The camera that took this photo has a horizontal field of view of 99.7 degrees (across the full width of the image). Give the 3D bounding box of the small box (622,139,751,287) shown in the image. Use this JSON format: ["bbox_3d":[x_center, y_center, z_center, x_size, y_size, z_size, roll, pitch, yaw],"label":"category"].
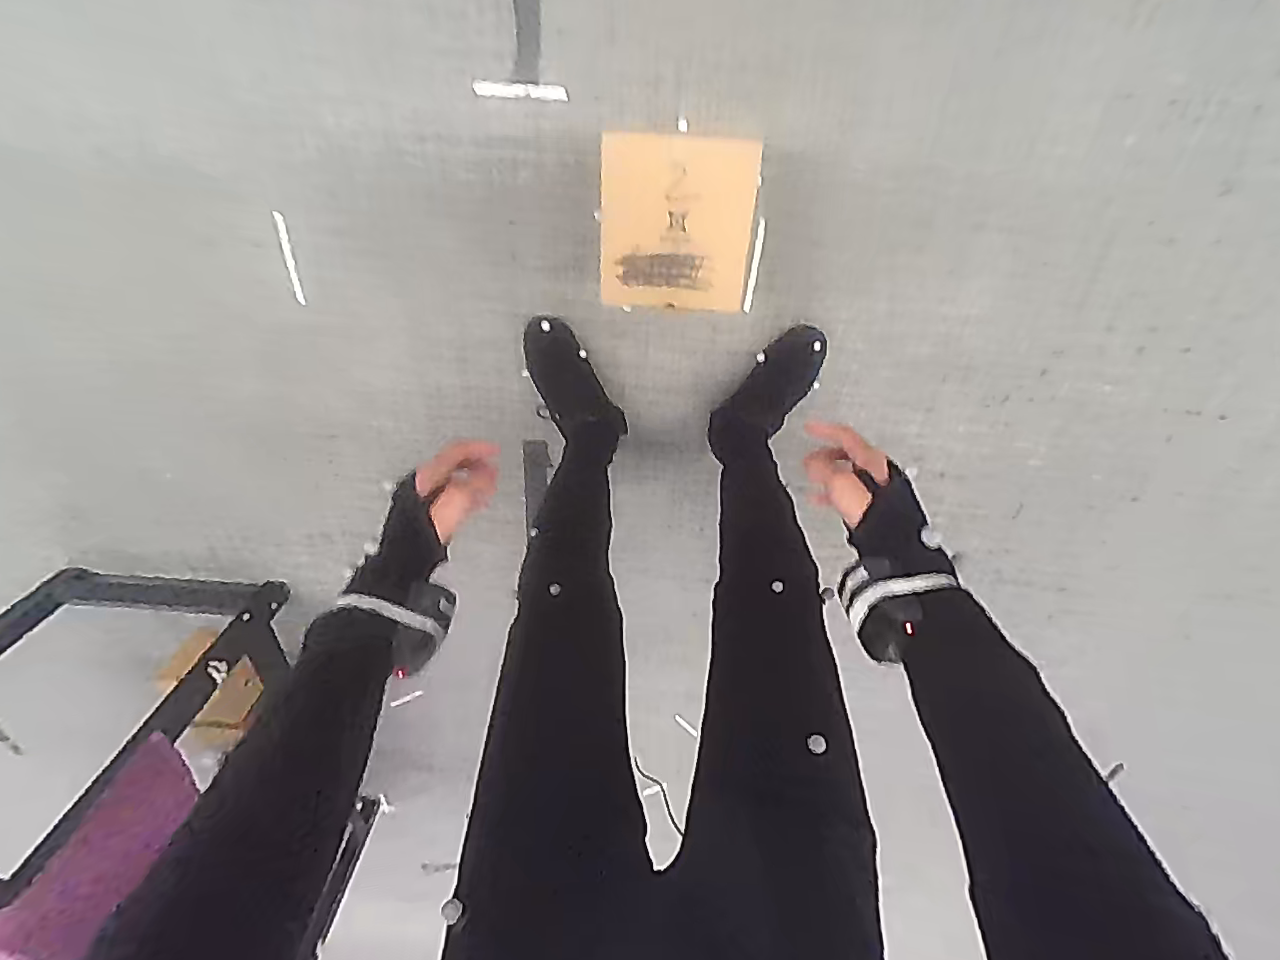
[{"bbox_3d":[0.060,-0.397,0.797,0.168,0.176,0.179,2,125,2],"label":"small box"}]
